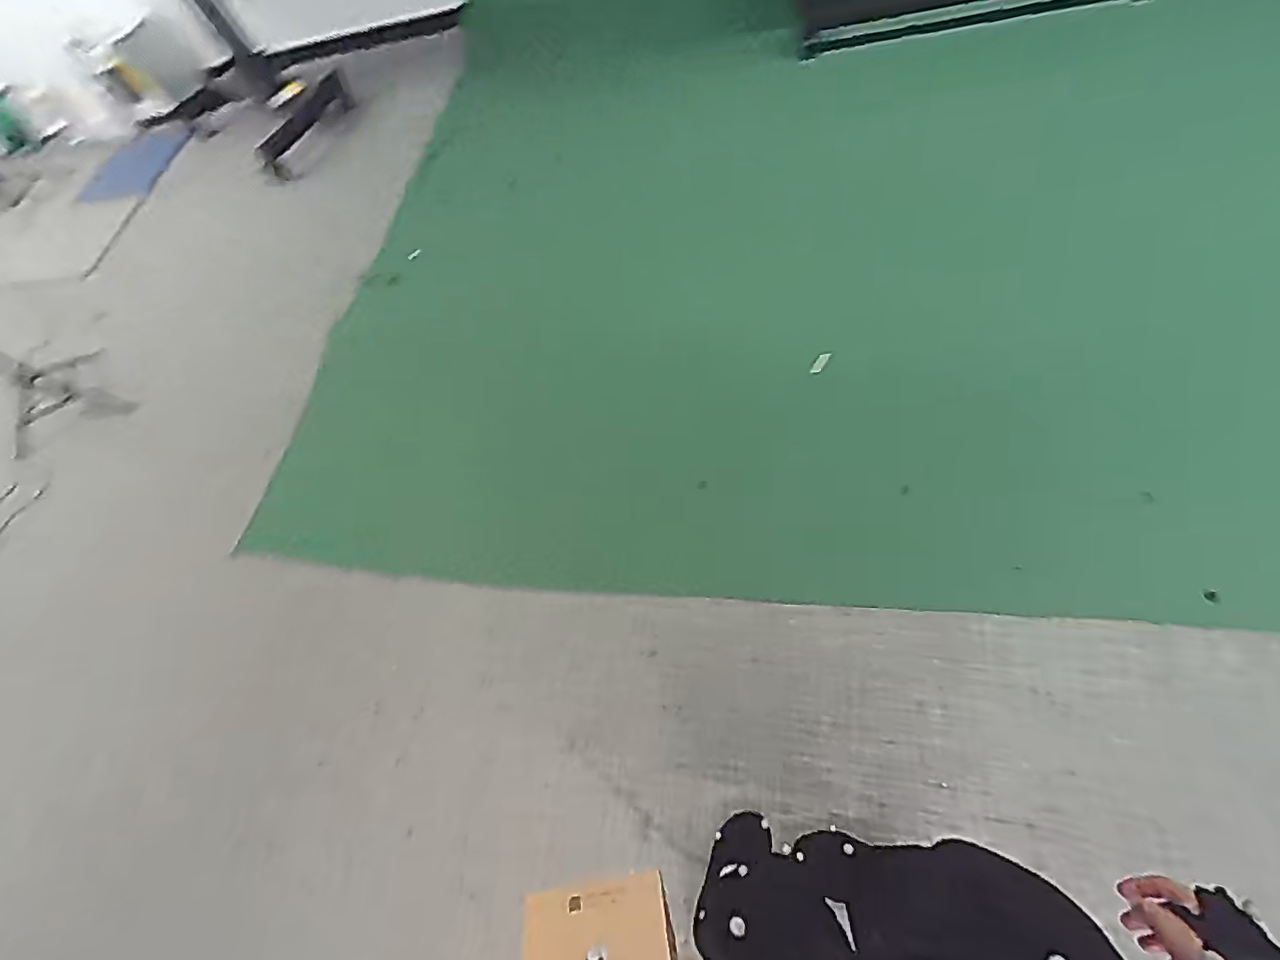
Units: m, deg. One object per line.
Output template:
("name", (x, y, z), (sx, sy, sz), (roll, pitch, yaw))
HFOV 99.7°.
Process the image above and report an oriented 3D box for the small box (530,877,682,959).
("small box", (-0.032, 0.591, 0.624), (0.168, 0.179, 0.176), (-9, 29, 0))
